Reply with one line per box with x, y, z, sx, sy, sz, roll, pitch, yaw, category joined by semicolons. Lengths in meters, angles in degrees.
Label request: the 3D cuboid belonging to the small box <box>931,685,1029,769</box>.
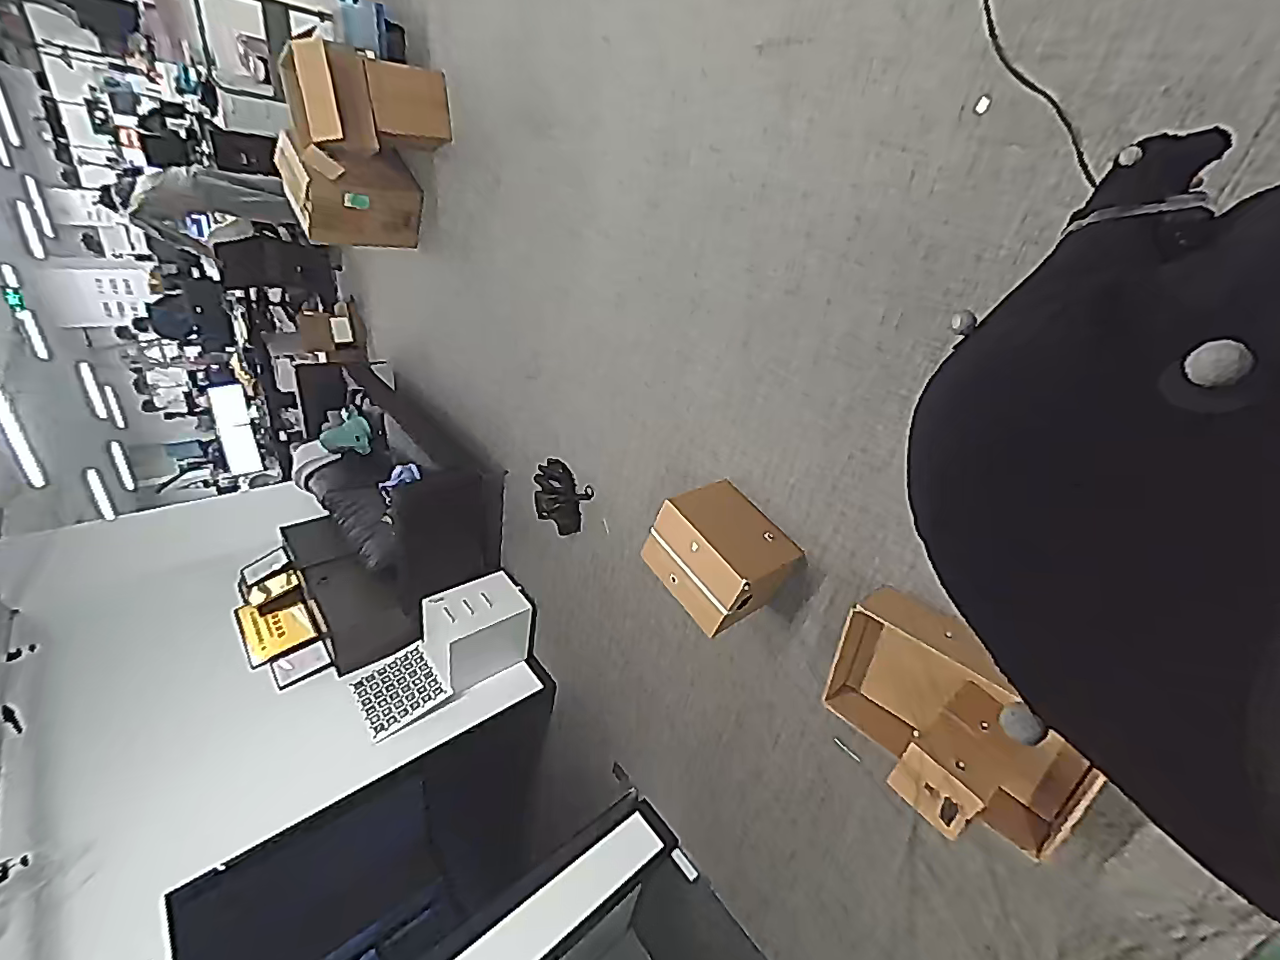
0.867;0.674;1.411;0.179;0.176;0.168;39;130;39;small box

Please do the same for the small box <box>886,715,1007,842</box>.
0.743;0.713;1.310;0.179;0.176;0.168;38;130;39;small box
